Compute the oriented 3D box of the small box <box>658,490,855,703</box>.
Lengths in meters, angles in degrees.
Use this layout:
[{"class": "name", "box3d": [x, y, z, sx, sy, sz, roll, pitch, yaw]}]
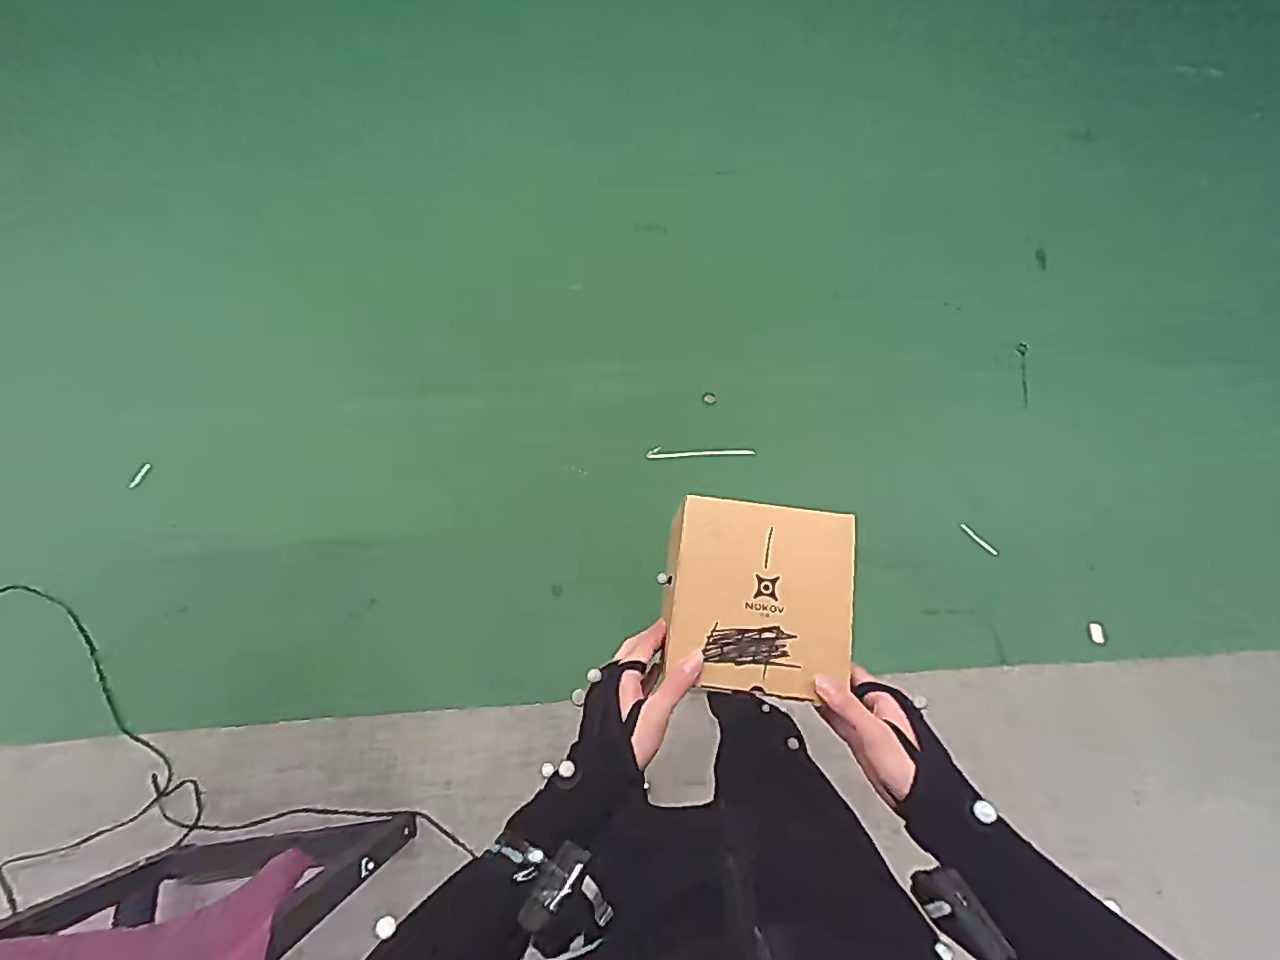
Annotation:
[{"class": "small box", "box3d": [0.112, 0.122, 0.578, 0.168, 0.176, 0.179, 8, 76, 0]}]
